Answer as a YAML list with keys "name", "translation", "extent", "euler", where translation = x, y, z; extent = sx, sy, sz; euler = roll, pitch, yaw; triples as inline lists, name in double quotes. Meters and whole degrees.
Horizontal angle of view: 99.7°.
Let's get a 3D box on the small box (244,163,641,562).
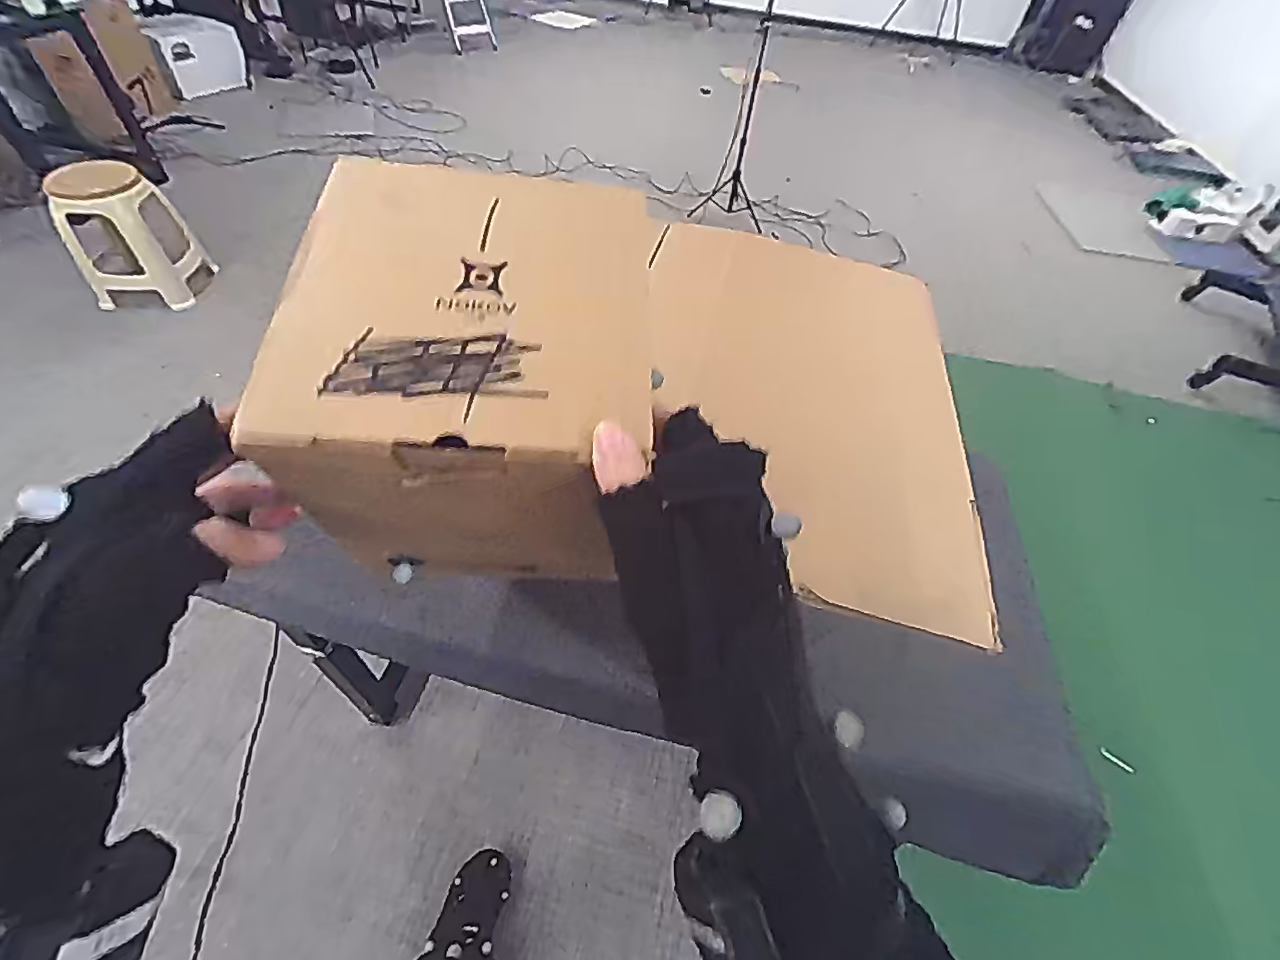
- name: "small box"
  translation: [-0.089, -0.057, 0.336]
  extent: [0.168, 0.176, 0.179]
  euler: [3, 62, -6]
